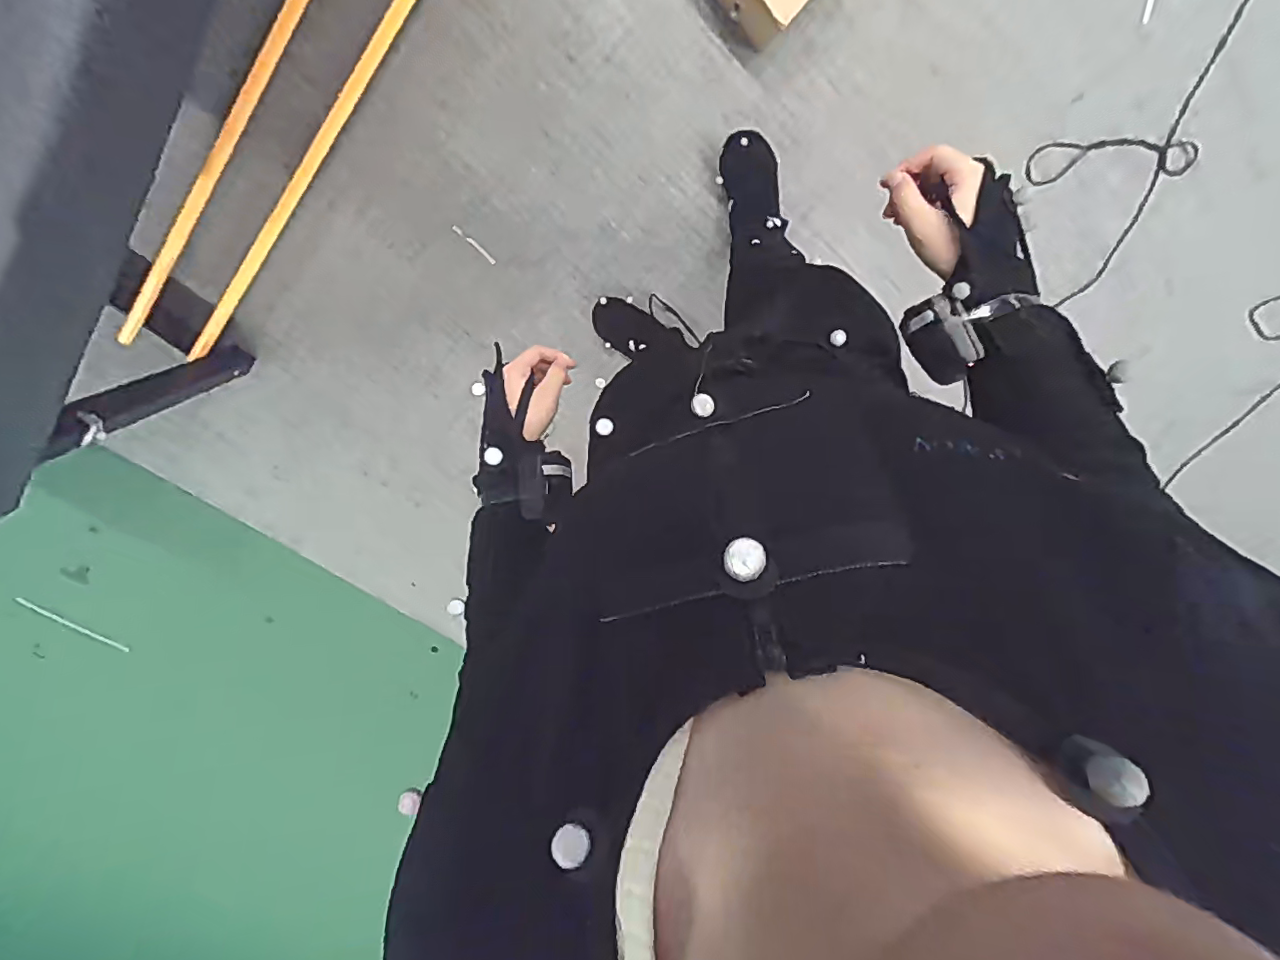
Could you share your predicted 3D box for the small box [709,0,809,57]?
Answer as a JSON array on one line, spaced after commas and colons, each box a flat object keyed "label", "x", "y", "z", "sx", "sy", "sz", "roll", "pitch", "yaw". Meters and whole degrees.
[{"label": "small box", "x": 0.228, "y": -0.882, "z": 0.920, "sx": 0.168, "sy": 0.176, "sz": 0.179, "roll": 40, "pitch": 108, "yaw": -18}]
